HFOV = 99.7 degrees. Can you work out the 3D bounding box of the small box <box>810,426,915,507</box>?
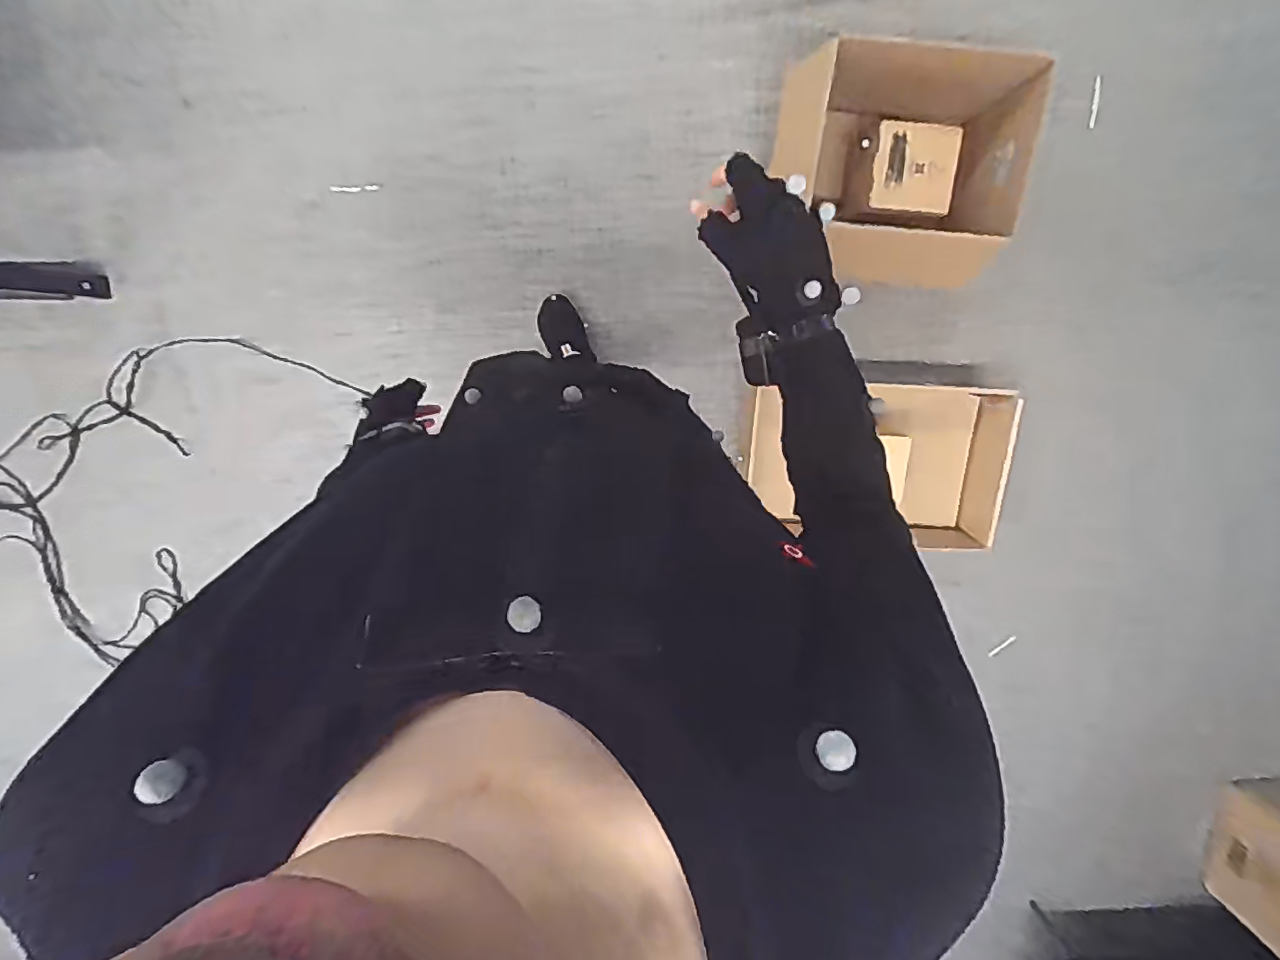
[{"bbox_3d":[0.537,-0.038,1.325,0.179,0.176,0.168,2,105,-1],"label":"small box"}]
